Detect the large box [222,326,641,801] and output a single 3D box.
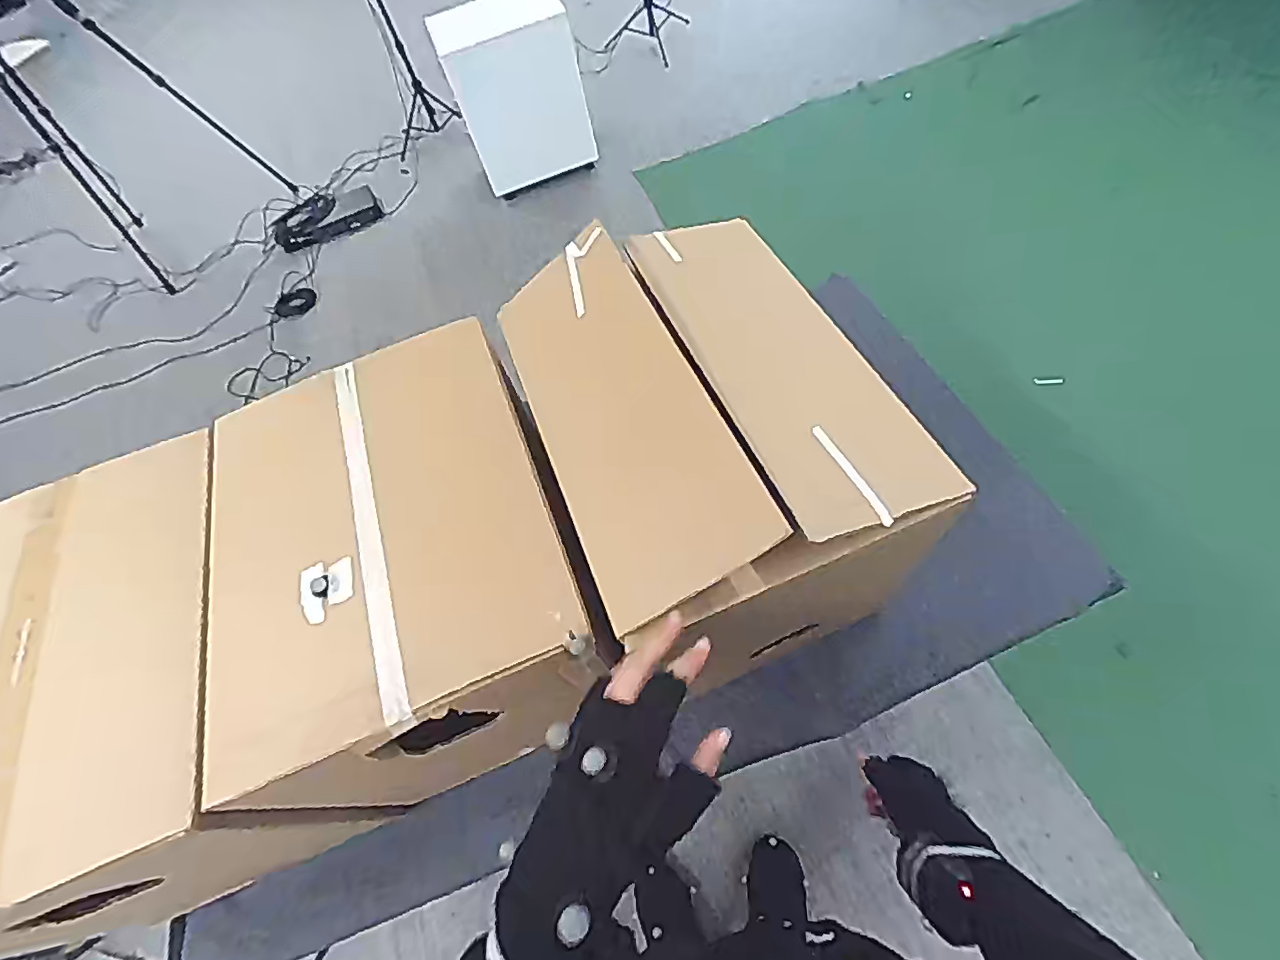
[{"bbox_3d":[-0.228,0.102,0.643,0.320,0.320,0.408,-24,60,-4],"label":"large box"}]
